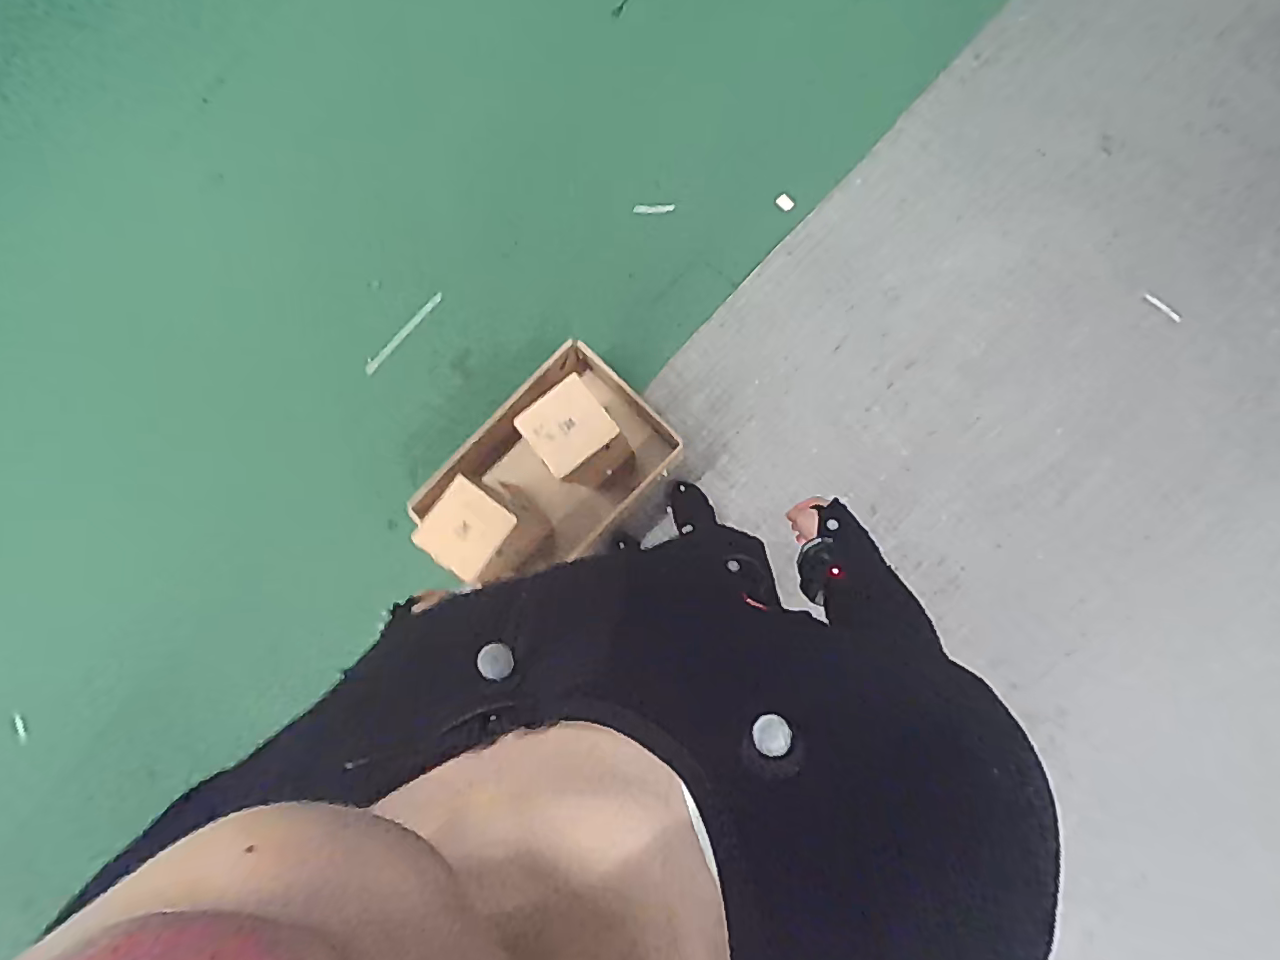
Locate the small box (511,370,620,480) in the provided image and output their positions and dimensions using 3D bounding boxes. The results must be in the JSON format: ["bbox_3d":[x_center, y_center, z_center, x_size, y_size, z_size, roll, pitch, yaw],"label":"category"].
[{"bbox_3d":[-0.157,-0.116,1.223,0.179,0.176,0.168,-39,85,1],"label":"small box"}]

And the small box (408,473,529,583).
[{"bbox_3d":[-0.374,0.109,1.217,0.168,0.176,0.179,36,86,4],"label":"small box"}]

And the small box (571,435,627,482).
[{"bbox_3d":[-0.151,-0.109,1.388,0.168,0.176,0.179,-39,86,1],"label":"small box"}]
